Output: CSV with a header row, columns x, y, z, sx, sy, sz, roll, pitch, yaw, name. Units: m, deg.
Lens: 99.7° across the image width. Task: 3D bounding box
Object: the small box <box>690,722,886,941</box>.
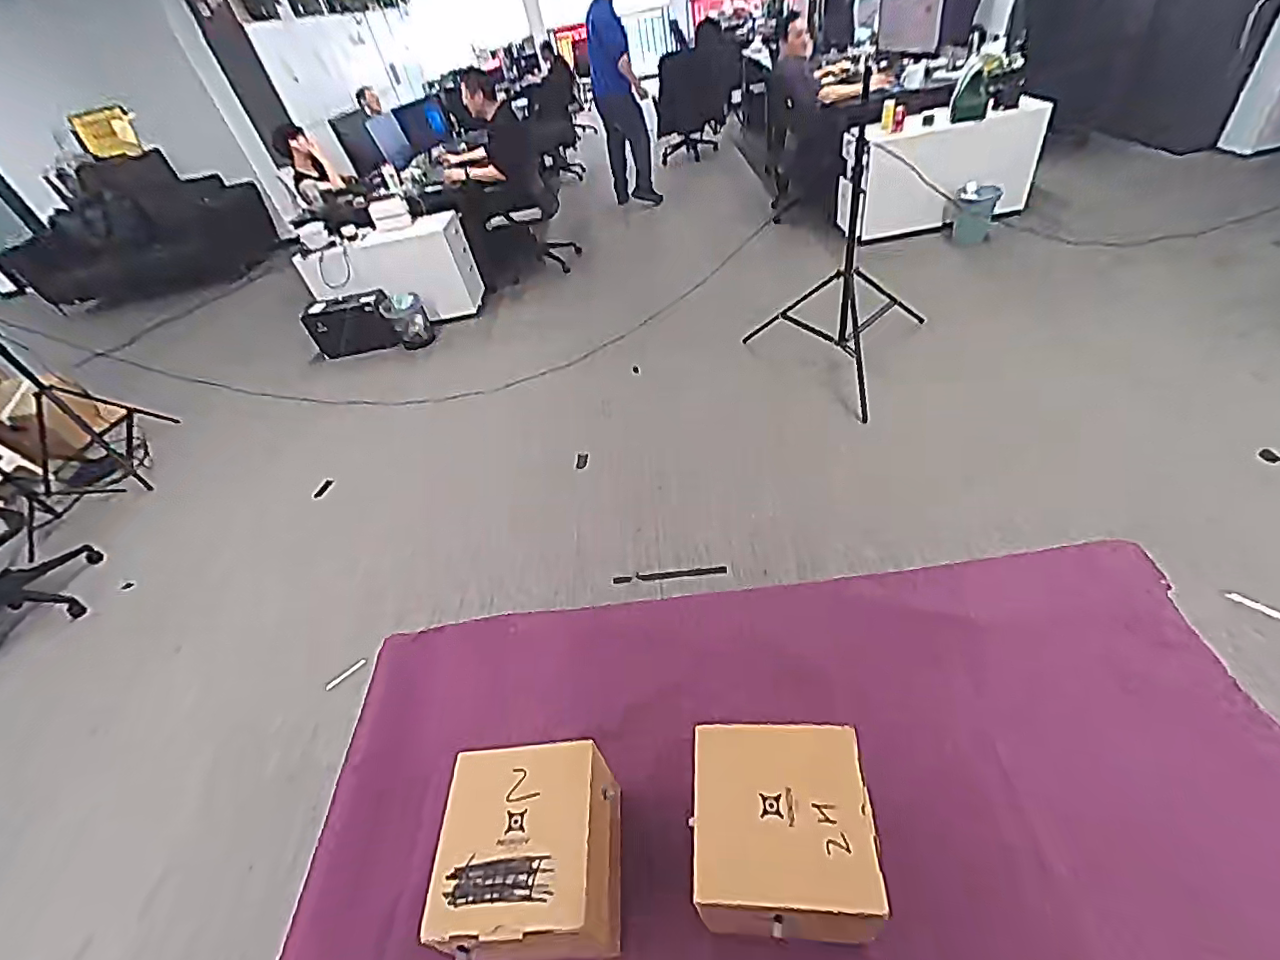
x,y,z,sx,sy,sz,roll,pitch,yaw,name
0.154,0.387,0.598,0.179,0.176,0.168,-4,43,11,small box
